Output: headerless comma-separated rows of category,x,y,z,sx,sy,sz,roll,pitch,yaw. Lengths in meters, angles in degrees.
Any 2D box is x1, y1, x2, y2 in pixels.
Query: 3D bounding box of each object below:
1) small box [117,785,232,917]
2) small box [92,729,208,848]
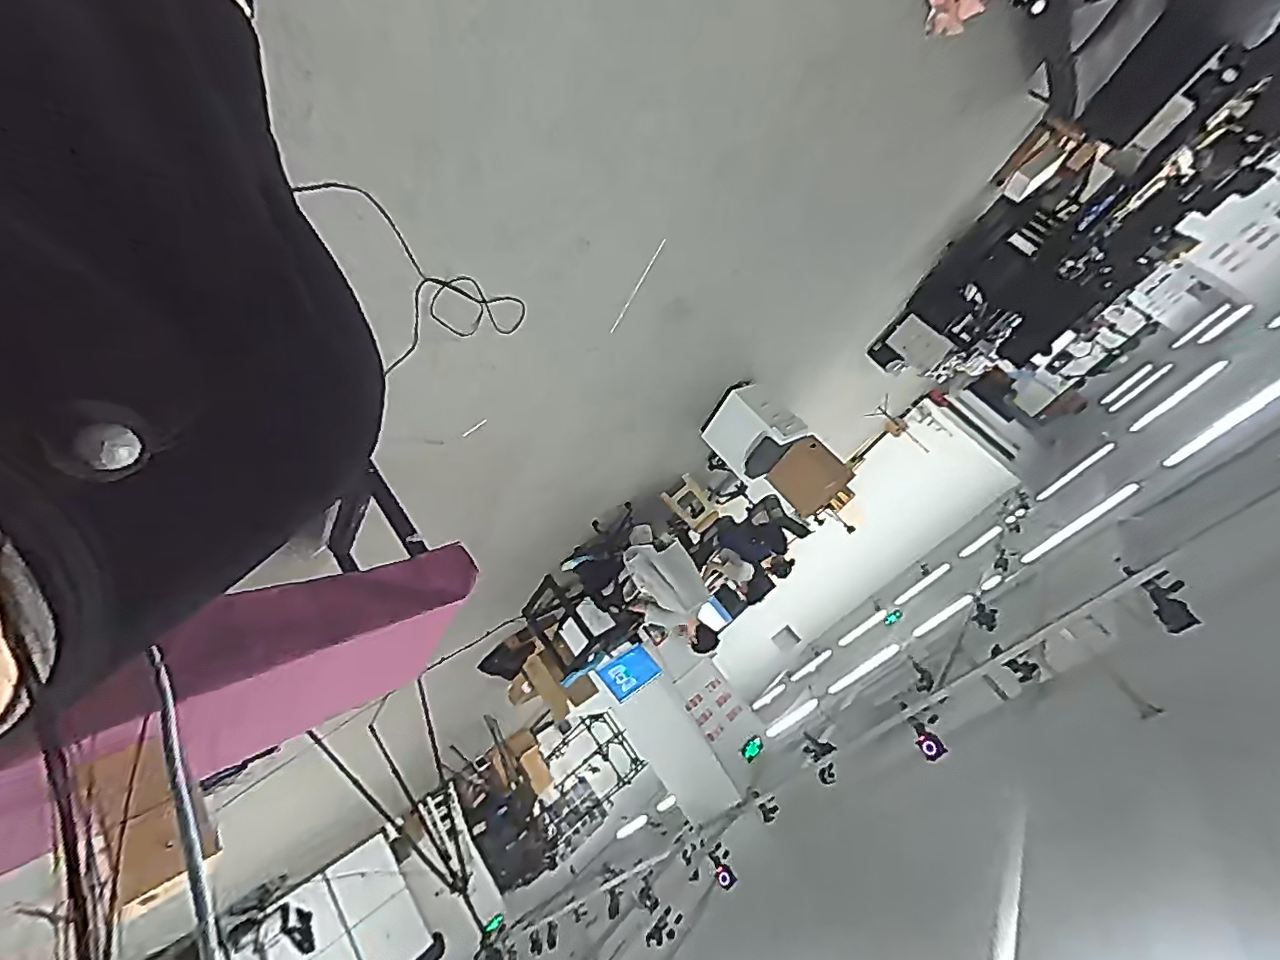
small box,-1.104,0.869,1.278,0.179,0.176,0.168,-16,150,-50
small box,-1.206,0.754,1.335,0.179,0.176,0.168,-17,150,-49
